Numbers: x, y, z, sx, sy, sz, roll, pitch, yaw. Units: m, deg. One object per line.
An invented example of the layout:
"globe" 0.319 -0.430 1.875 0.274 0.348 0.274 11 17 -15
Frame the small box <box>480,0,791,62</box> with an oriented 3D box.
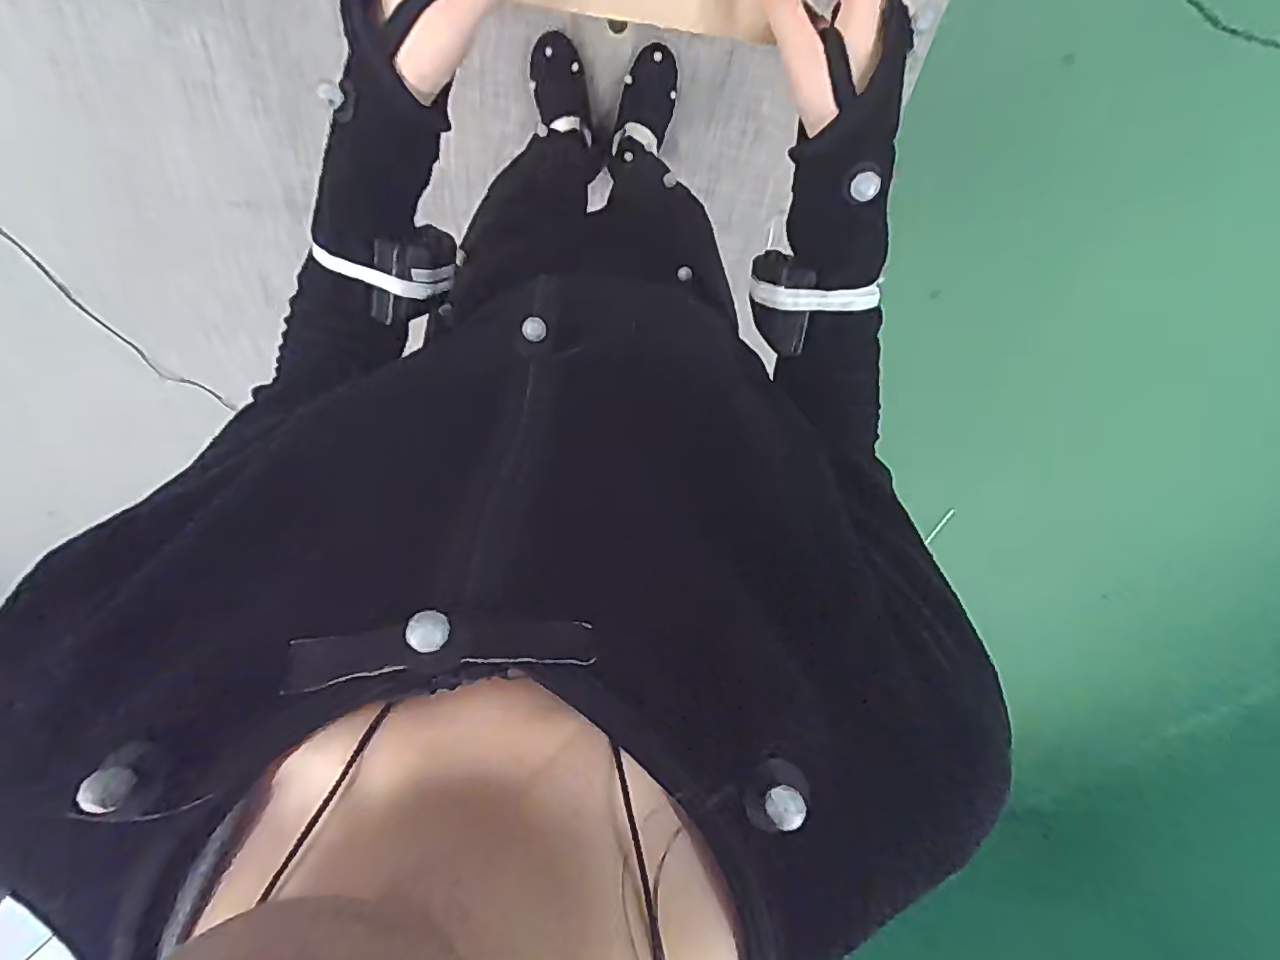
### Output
"small box" 0.000 -0.370 0.312 0.179 0.176 0.168 1 135 -11
